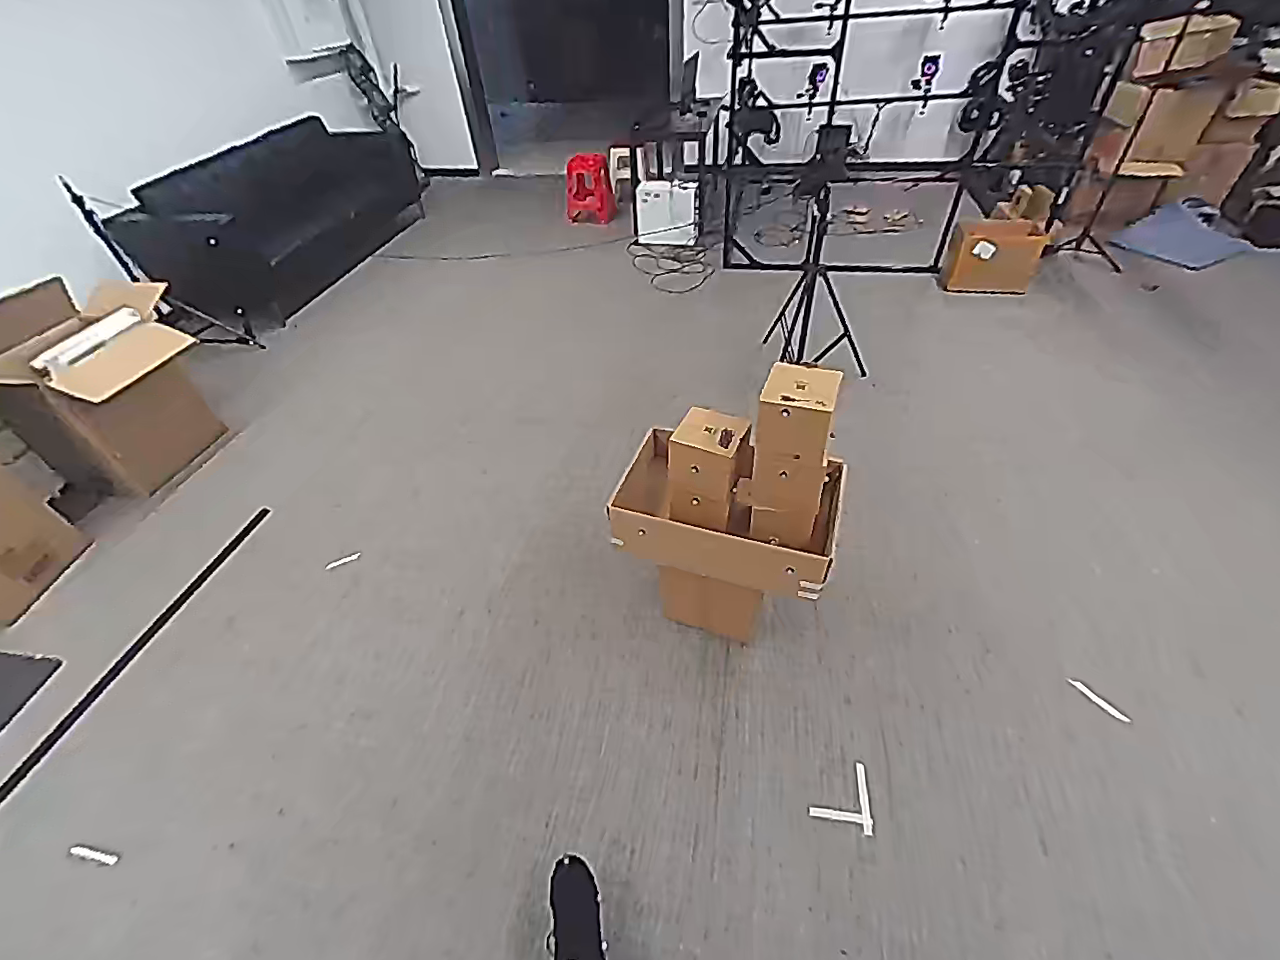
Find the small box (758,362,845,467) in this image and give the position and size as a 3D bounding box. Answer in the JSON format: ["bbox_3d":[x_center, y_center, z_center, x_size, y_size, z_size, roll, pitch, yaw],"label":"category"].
[{"bbox_3d":[0.385,-0.160,1.303,0.168,0.176,0.179,13,45,21],"label":"small box"}]

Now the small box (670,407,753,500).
[{"bbox_3d":[0.193,-0.069,1.470,0.179,0.176,0.168,18,47,21],"label":"small box"}]

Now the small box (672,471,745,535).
[{"bbox_3d":[0.201,0.039,1.594,0.179,0.176,0.168,14,46,17],"label":"small box"}]
